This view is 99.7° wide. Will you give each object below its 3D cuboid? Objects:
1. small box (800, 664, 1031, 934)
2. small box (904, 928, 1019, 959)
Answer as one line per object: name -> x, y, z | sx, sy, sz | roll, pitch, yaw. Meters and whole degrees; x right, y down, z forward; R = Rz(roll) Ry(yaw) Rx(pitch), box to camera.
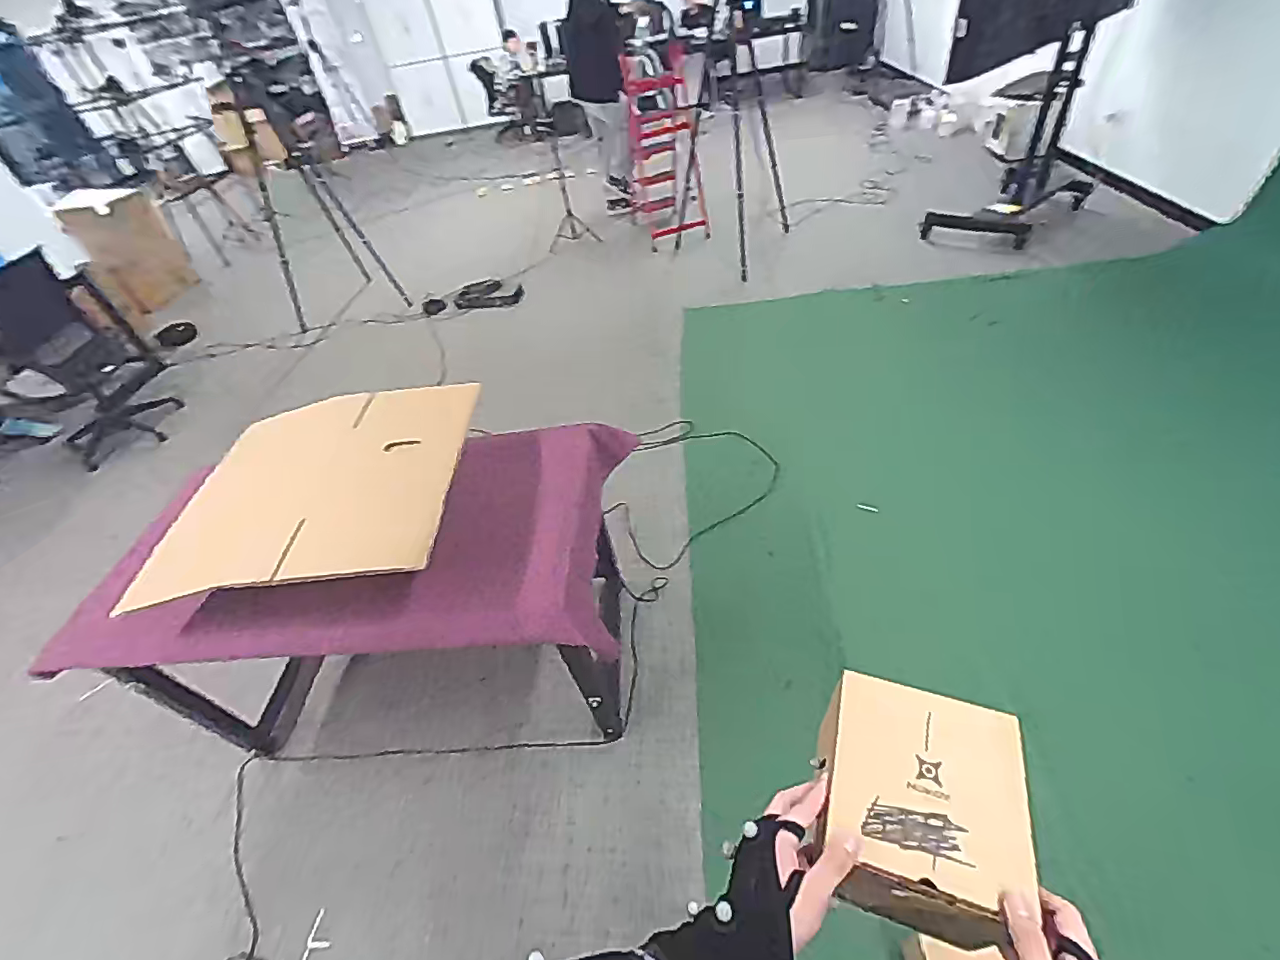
small box -> 0.265, 0.327, 0.556 | 0.168, 0.176, 0.179 | 11, 47, 16
small box -> 0.653, 1.012, 1.078 | 0.179, 0.176, 0.168 | -5, 44, 8
